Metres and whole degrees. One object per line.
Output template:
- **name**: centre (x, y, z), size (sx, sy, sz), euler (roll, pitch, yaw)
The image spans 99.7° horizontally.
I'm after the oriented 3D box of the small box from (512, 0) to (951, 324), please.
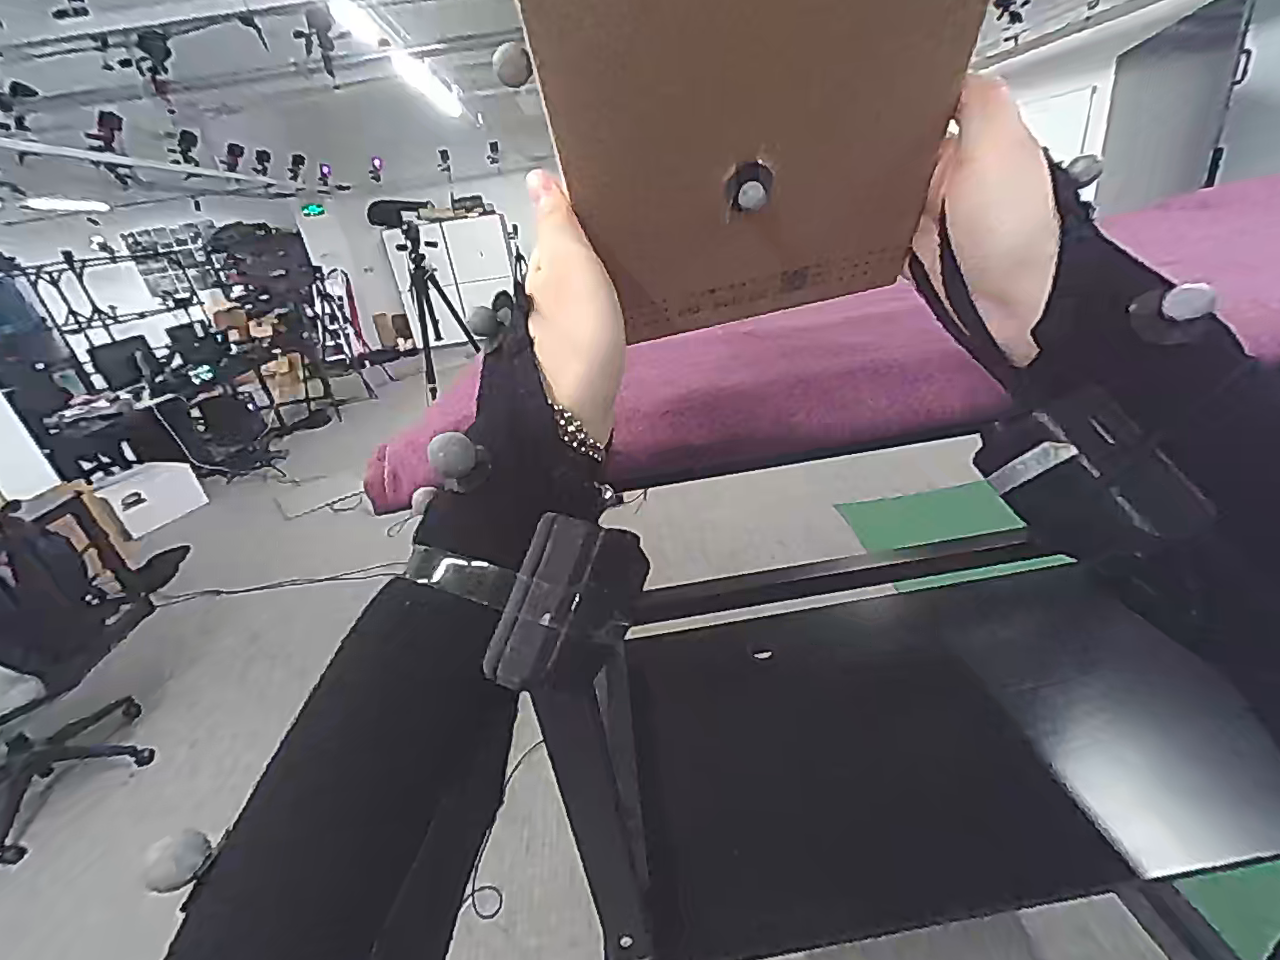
- **small box**: centre (0.036, -0.203, 0.284), size (0.168, 0.176, 0.179), euler (-12, 58, 1)
